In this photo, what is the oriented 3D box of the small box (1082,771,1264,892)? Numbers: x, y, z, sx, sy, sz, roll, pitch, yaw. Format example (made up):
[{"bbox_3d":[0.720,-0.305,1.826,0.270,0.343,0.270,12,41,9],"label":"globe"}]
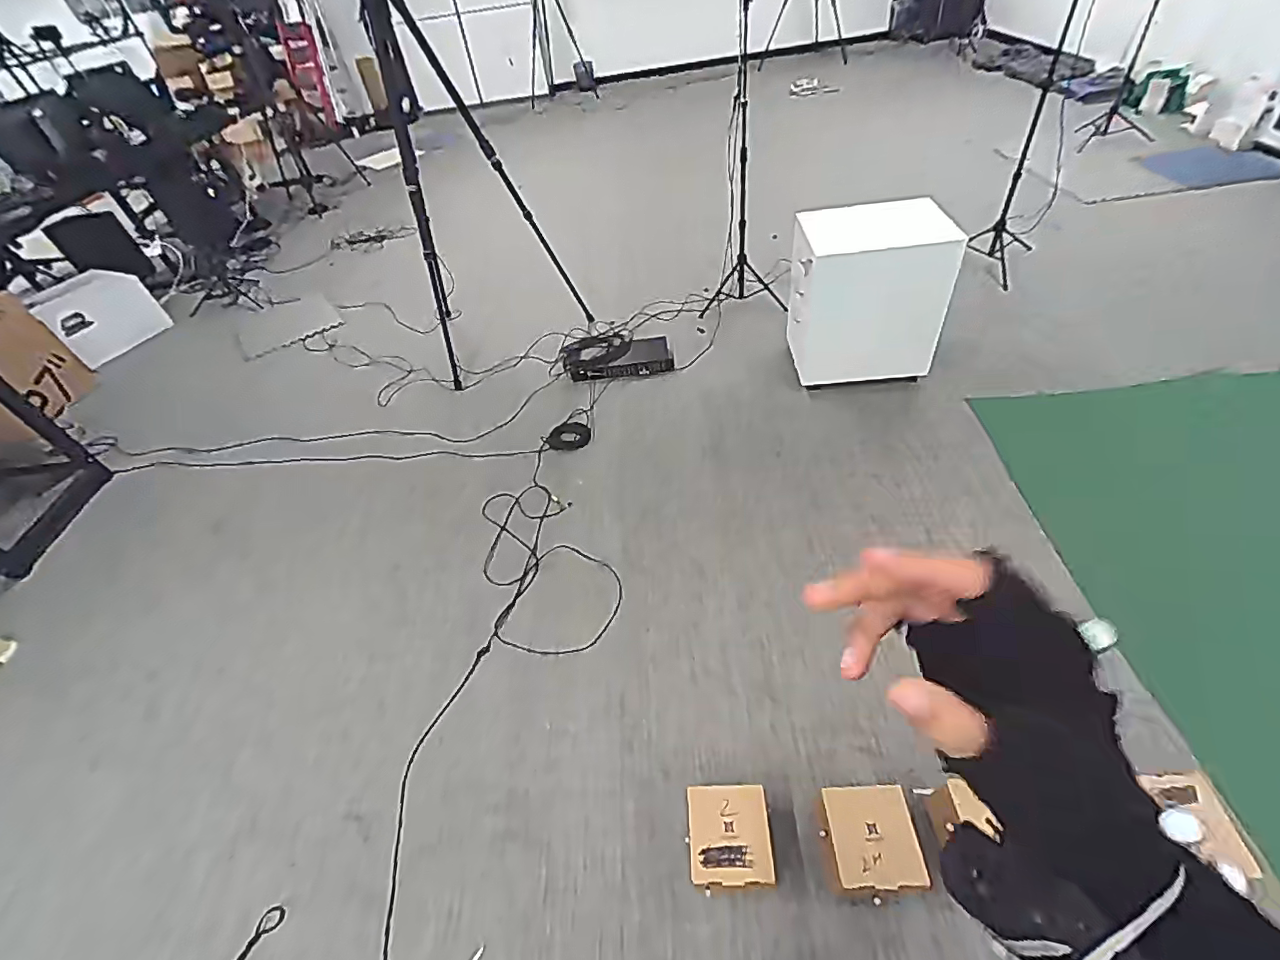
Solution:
[{"bbox_3d":[1.055,0.711,1.095,0.168,0.176,0.179,-3,47,7],"label":"small box"}]

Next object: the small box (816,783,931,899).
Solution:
[{"bbox_3d":[0.478,0.761,1.140,0.168,0.176,0.179,-6,46,5],"label":"small box"}]

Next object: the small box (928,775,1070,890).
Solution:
[{"bbox_3d":[0.731,0.737,1.125,0.168,0.176,0.179,-6,45,4],"label":"small box"}]
